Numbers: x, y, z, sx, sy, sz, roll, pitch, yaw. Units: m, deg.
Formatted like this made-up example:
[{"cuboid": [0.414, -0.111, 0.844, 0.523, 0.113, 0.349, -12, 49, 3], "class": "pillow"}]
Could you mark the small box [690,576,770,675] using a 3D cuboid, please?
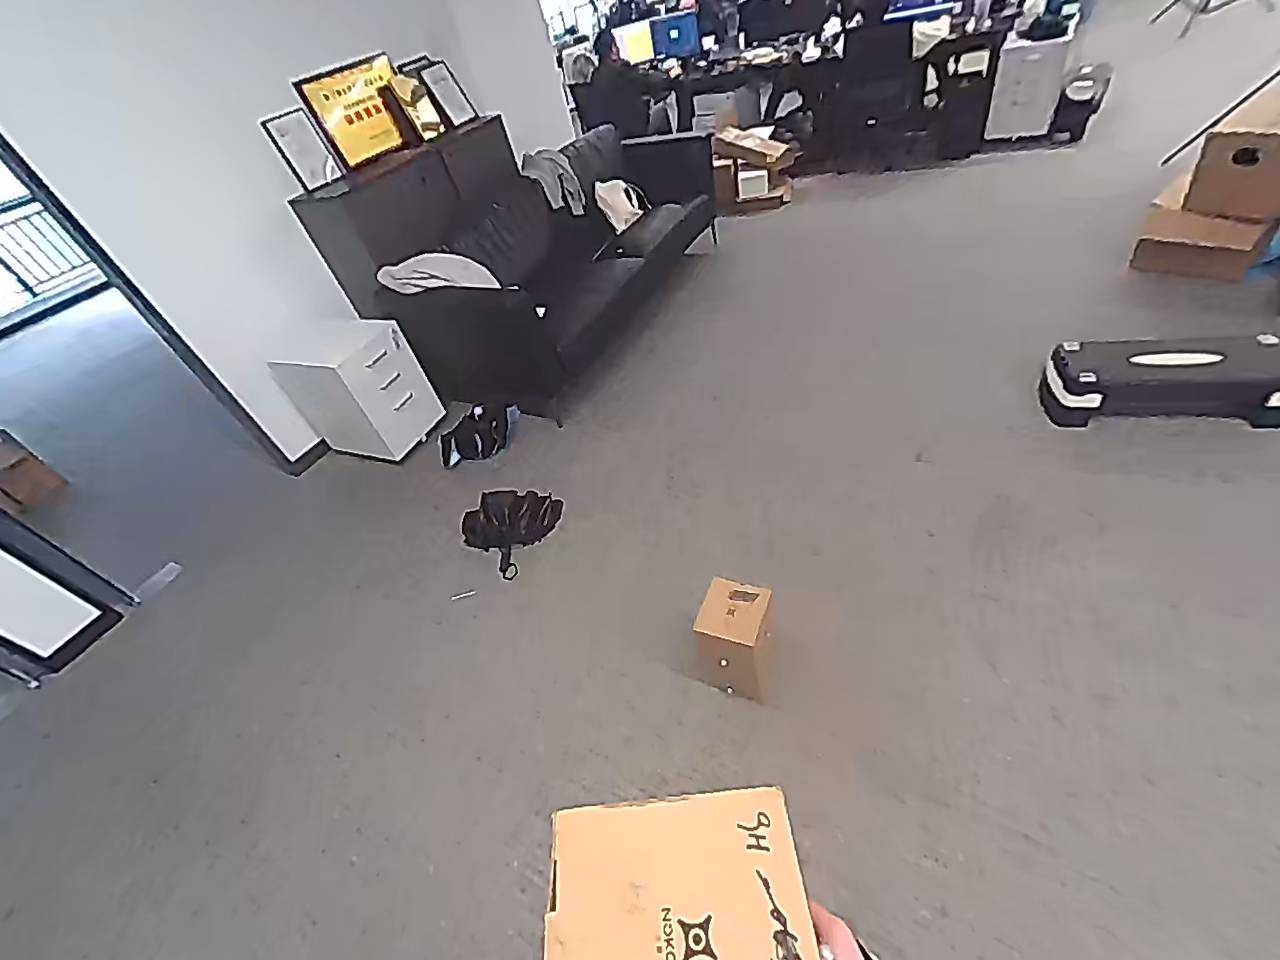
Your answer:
[{"cuboid": [0.251, 0.394, 1.469, 0.168, 0.176, 0.179, 9, 48, 27], "class": "small box"}]

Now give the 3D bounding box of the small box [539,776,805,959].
[{"cuboid": [0.022, 0.349, 0.427, 0.179, 0.176, 0.168, -4, 51, -2], "class": "small box"}]

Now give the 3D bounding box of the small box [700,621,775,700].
[{"cuboid": [0.292, 0.508, 1.581, 0.168, 0.176, 0.179, 9, 49, 27], "class": "small box"}]
